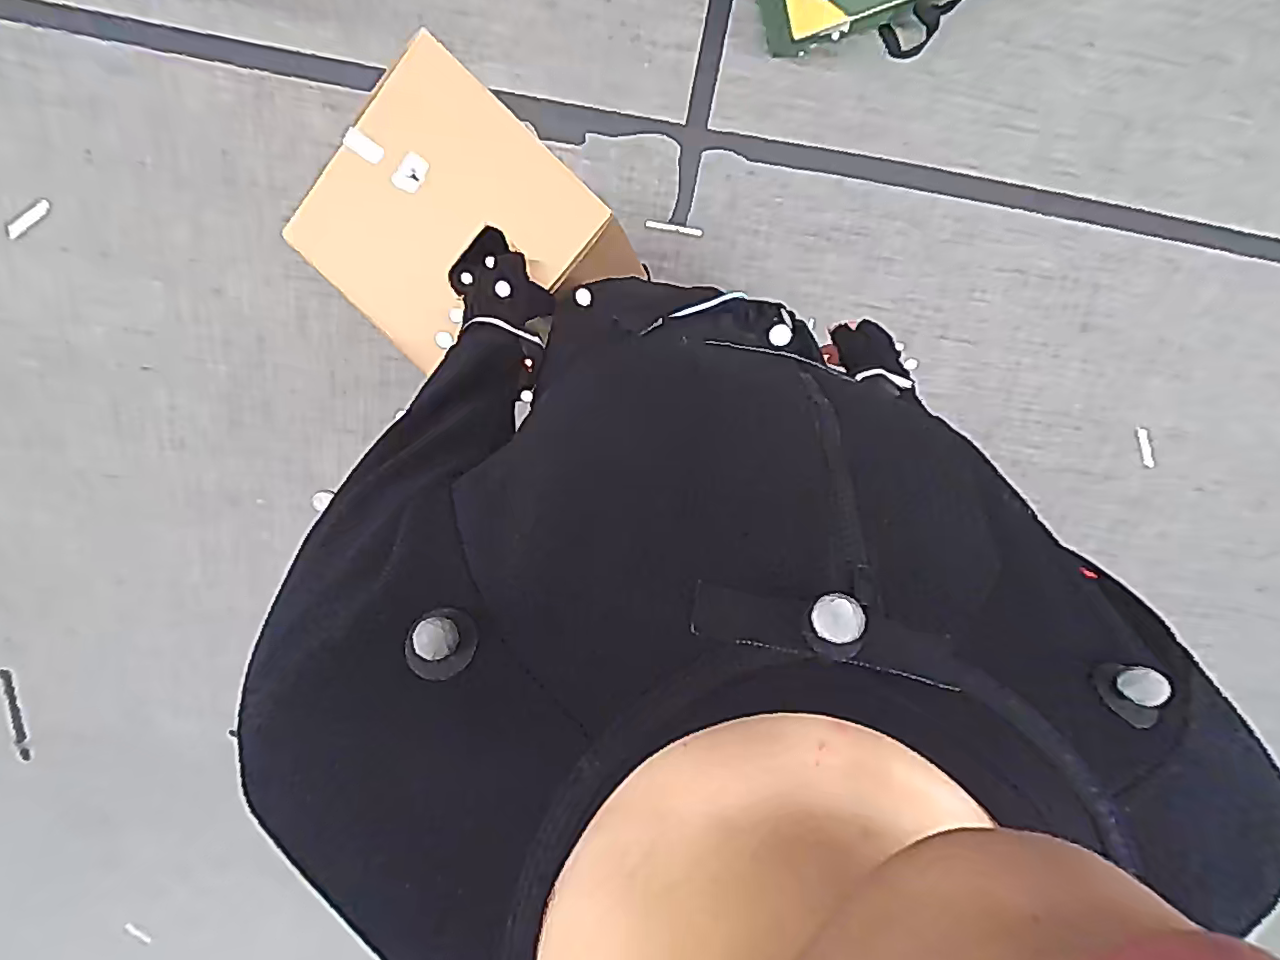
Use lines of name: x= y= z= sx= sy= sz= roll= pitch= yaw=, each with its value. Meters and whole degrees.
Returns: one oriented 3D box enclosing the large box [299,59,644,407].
large box: x=-0.226 y=-0.346 z=0.877 sx=0.320 sy=0.408 sz=0.320 roll=44 pitch=102 yaw=-3
